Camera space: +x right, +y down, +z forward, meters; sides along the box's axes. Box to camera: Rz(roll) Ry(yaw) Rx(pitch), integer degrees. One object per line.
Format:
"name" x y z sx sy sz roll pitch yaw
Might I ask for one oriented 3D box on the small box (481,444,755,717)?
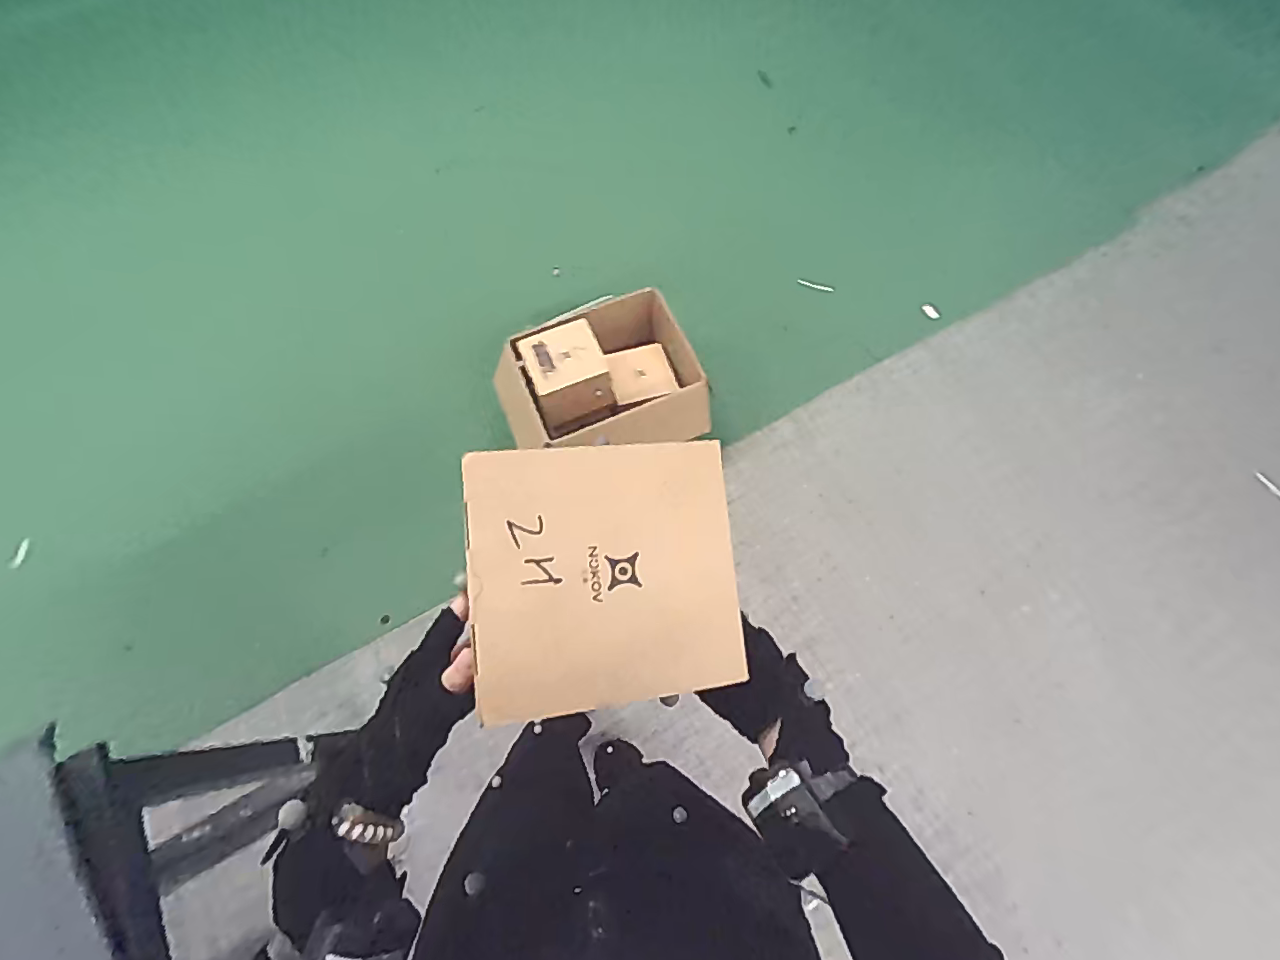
"small box" -0.032 0.069 0.427 0.179 0.176 0.168 -3 81 -15
